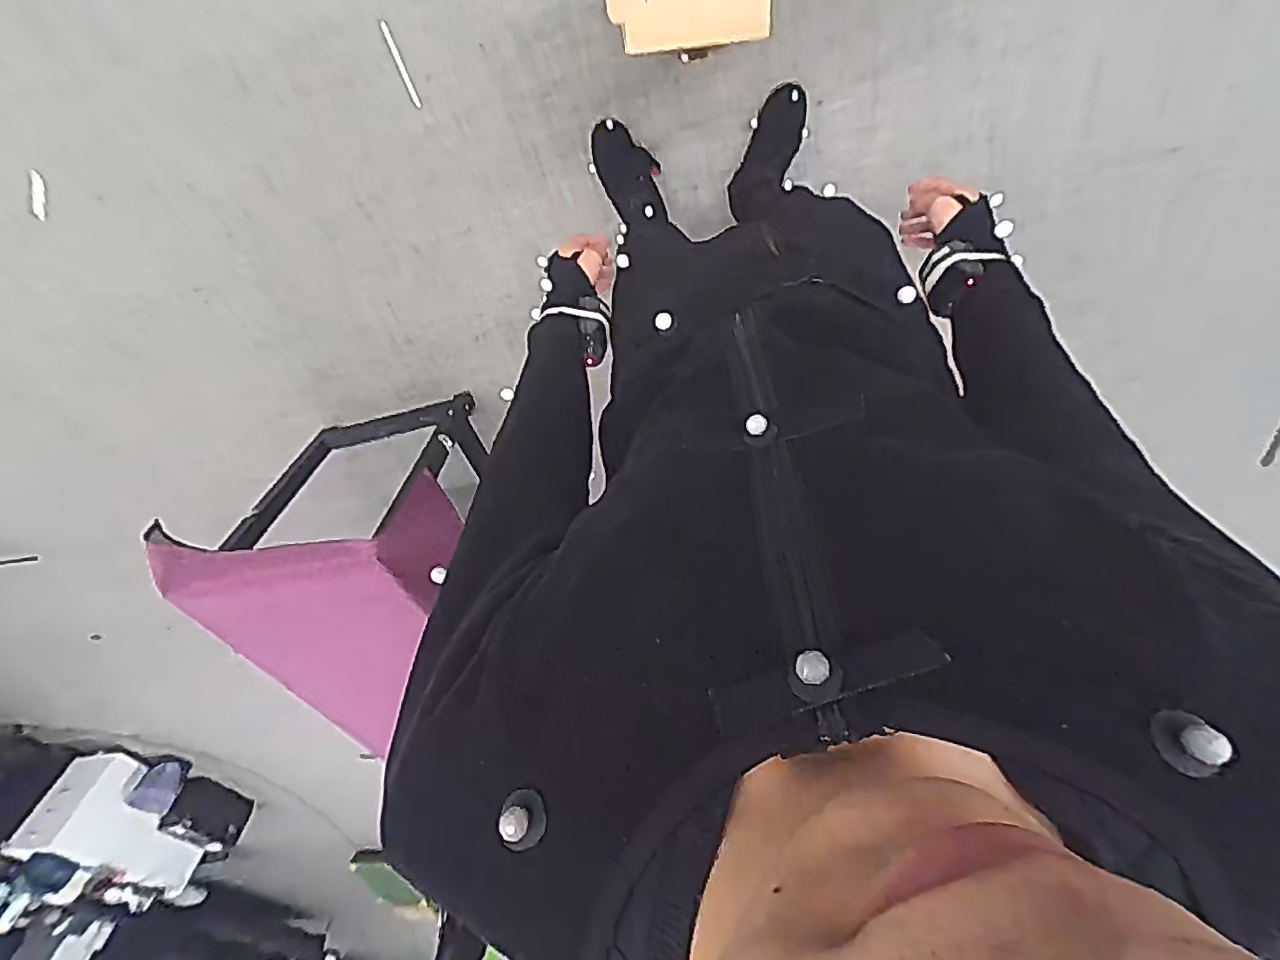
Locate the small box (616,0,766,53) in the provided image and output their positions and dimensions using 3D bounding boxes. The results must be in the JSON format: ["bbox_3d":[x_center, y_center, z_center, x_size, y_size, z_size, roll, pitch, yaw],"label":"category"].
[{"bbox_3d":[0.059,-0.637,0.665,0.179,0.176,0.168,-3,130,4],"label":"small box"}]
